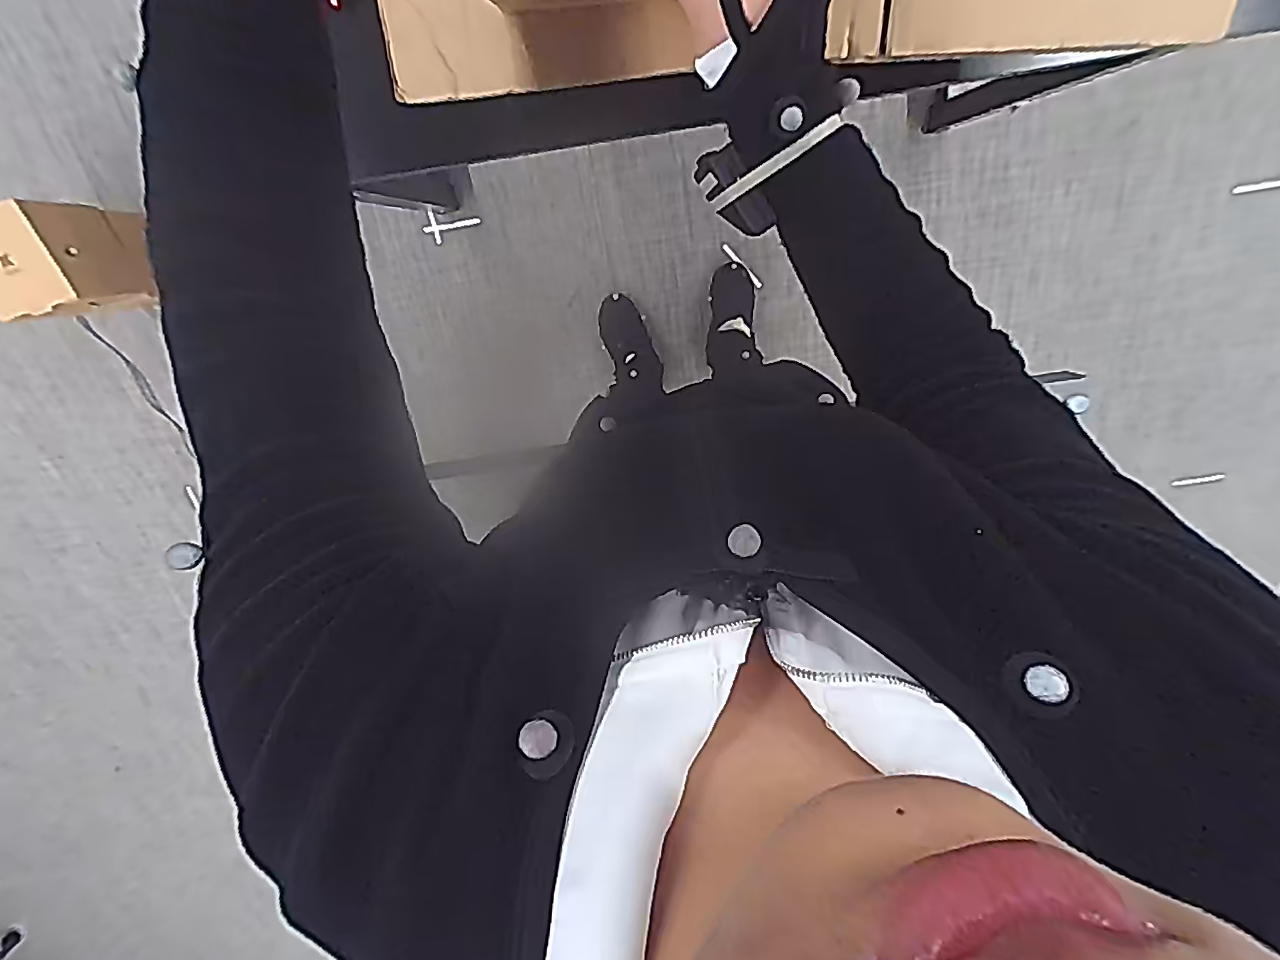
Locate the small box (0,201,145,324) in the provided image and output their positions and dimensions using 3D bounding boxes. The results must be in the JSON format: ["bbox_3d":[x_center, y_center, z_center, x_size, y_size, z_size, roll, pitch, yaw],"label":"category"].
[{"bbox_3d":[-1.140,-0.421,1.050,0.168,0.176,0.179,-16,112,3],"label":"small box"}]

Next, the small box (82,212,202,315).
[{"bbox_3d":[-1.144,-0.480,1.201,0.168,0.176,0.179,-12,114,3],"label":"small box"}]
